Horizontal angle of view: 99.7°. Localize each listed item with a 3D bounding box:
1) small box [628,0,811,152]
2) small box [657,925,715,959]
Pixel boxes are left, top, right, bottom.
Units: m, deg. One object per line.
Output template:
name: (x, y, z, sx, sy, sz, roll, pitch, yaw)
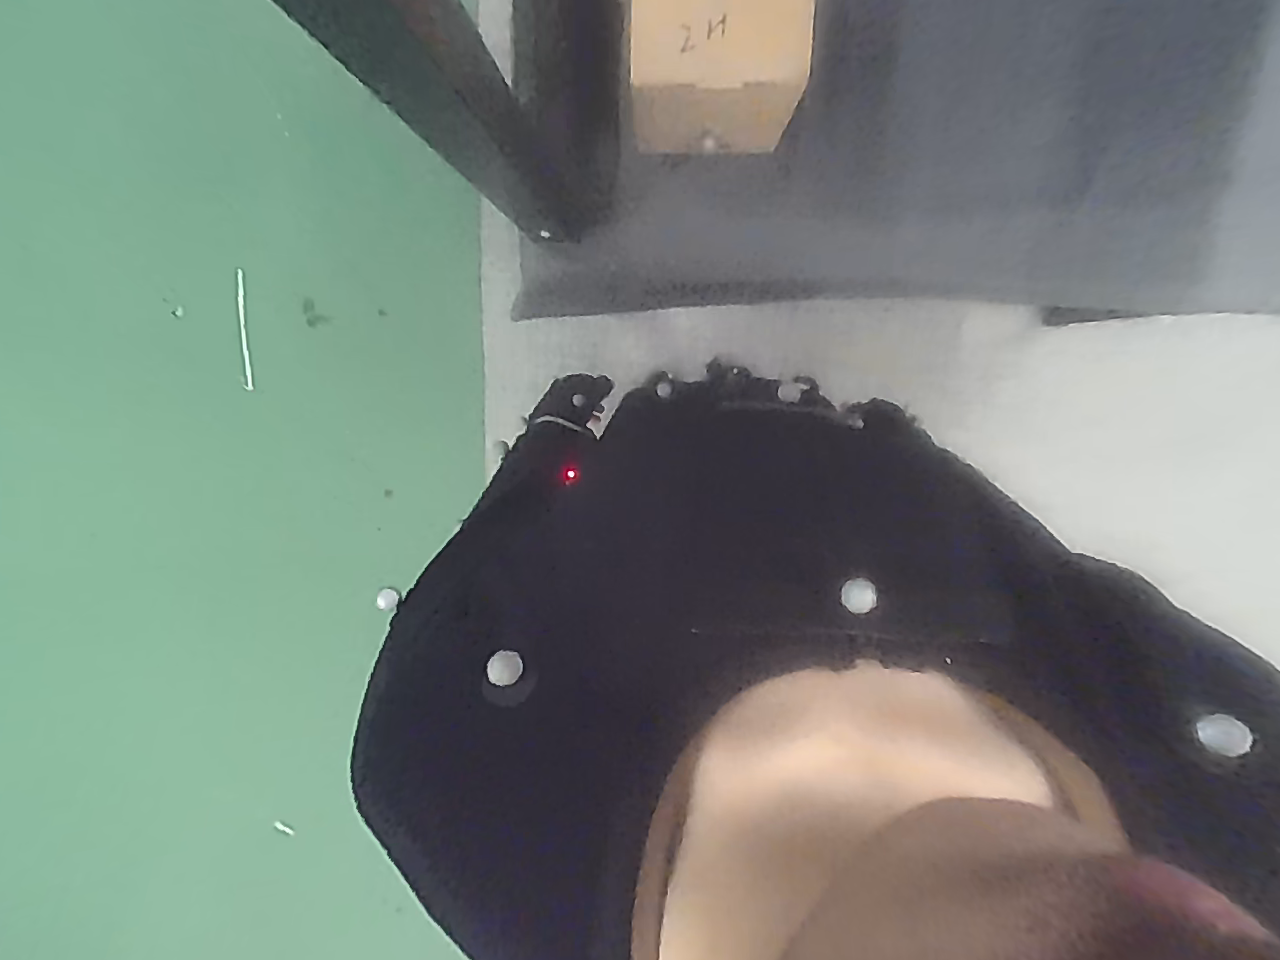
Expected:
small box: (0.074, -0.466, 0.556, 0.168, 0.176, 0.179, 1, 102, 3)
small box: (0.143, 1.578, 1.727, 0.168, 0.176, 0.179, 10, 103, 2)
